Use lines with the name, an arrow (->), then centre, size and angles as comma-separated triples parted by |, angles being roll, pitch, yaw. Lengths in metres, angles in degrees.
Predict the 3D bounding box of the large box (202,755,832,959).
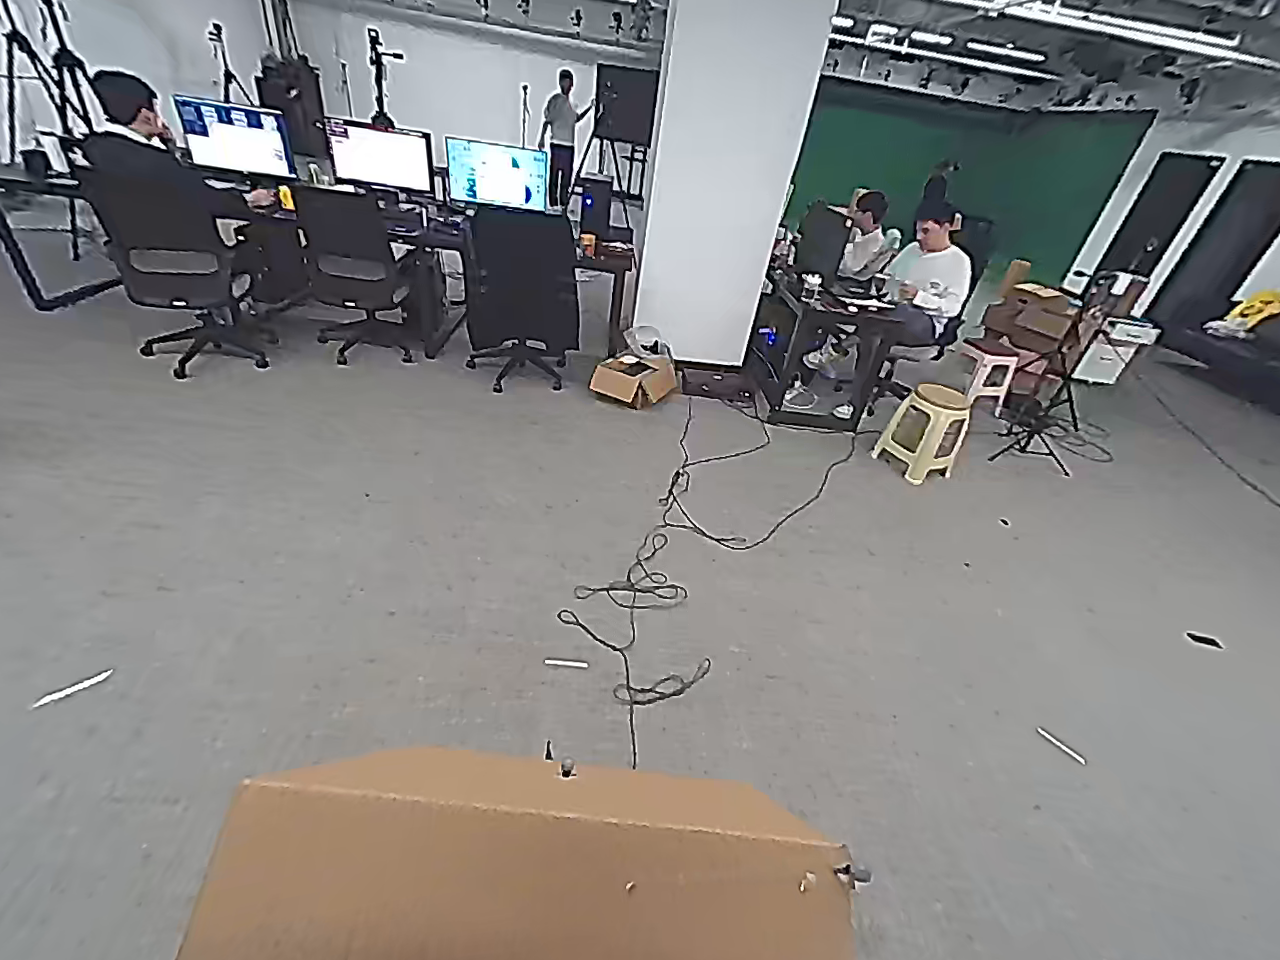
large box -> -0.087, 0.424, 0.451 | 0.408, 0.320, 0.320 | 6, 68, 0
